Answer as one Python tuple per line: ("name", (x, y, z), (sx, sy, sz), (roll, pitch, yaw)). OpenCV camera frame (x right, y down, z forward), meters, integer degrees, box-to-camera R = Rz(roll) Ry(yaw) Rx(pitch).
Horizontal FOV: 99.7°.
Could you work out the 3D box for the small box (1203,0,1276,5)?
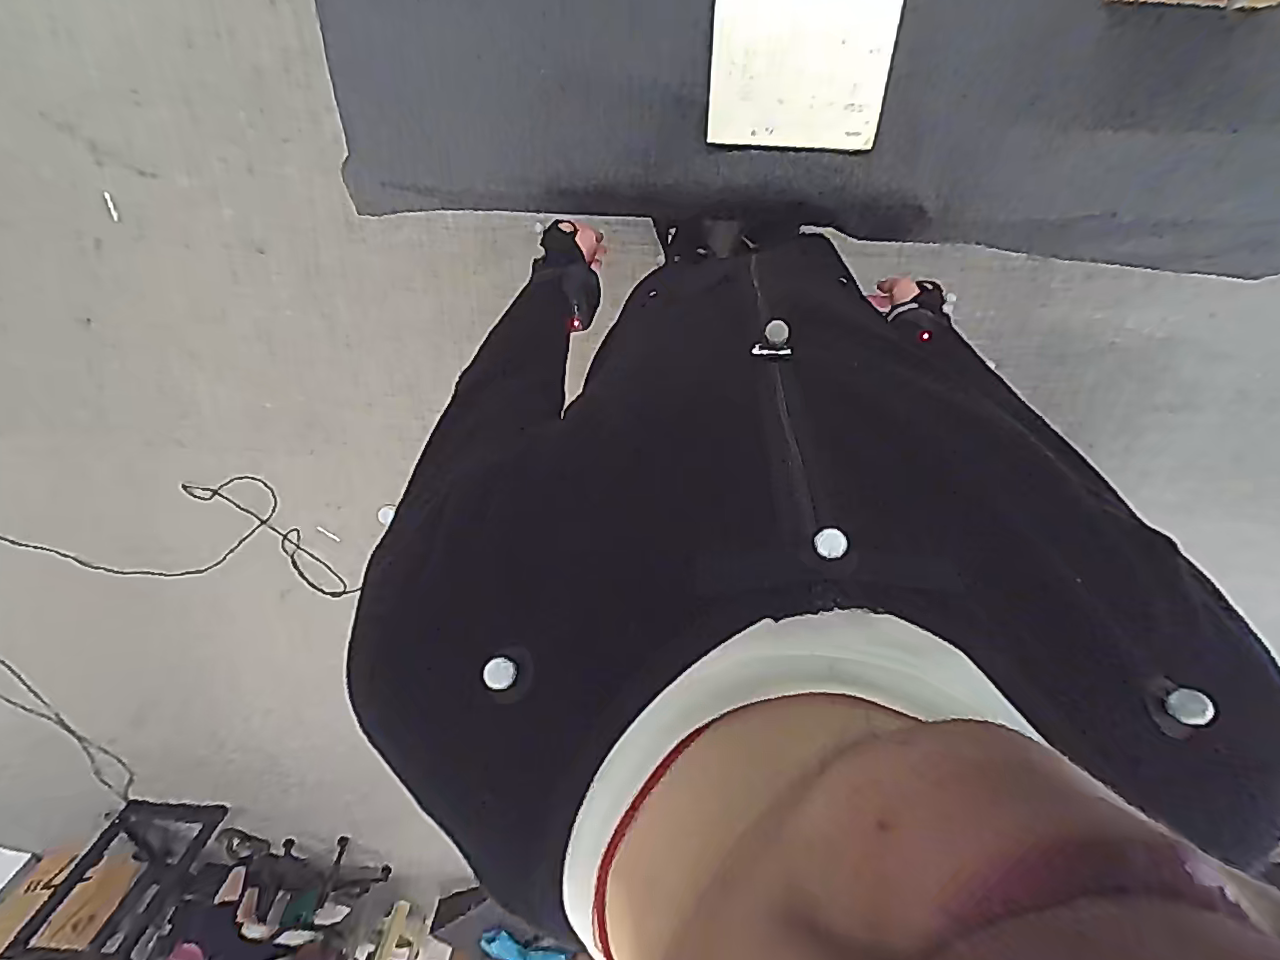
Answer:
("small box", (0.551, -0.520, 0.444), (0.168, 0.176, 0.179), (4, 123, 2))
